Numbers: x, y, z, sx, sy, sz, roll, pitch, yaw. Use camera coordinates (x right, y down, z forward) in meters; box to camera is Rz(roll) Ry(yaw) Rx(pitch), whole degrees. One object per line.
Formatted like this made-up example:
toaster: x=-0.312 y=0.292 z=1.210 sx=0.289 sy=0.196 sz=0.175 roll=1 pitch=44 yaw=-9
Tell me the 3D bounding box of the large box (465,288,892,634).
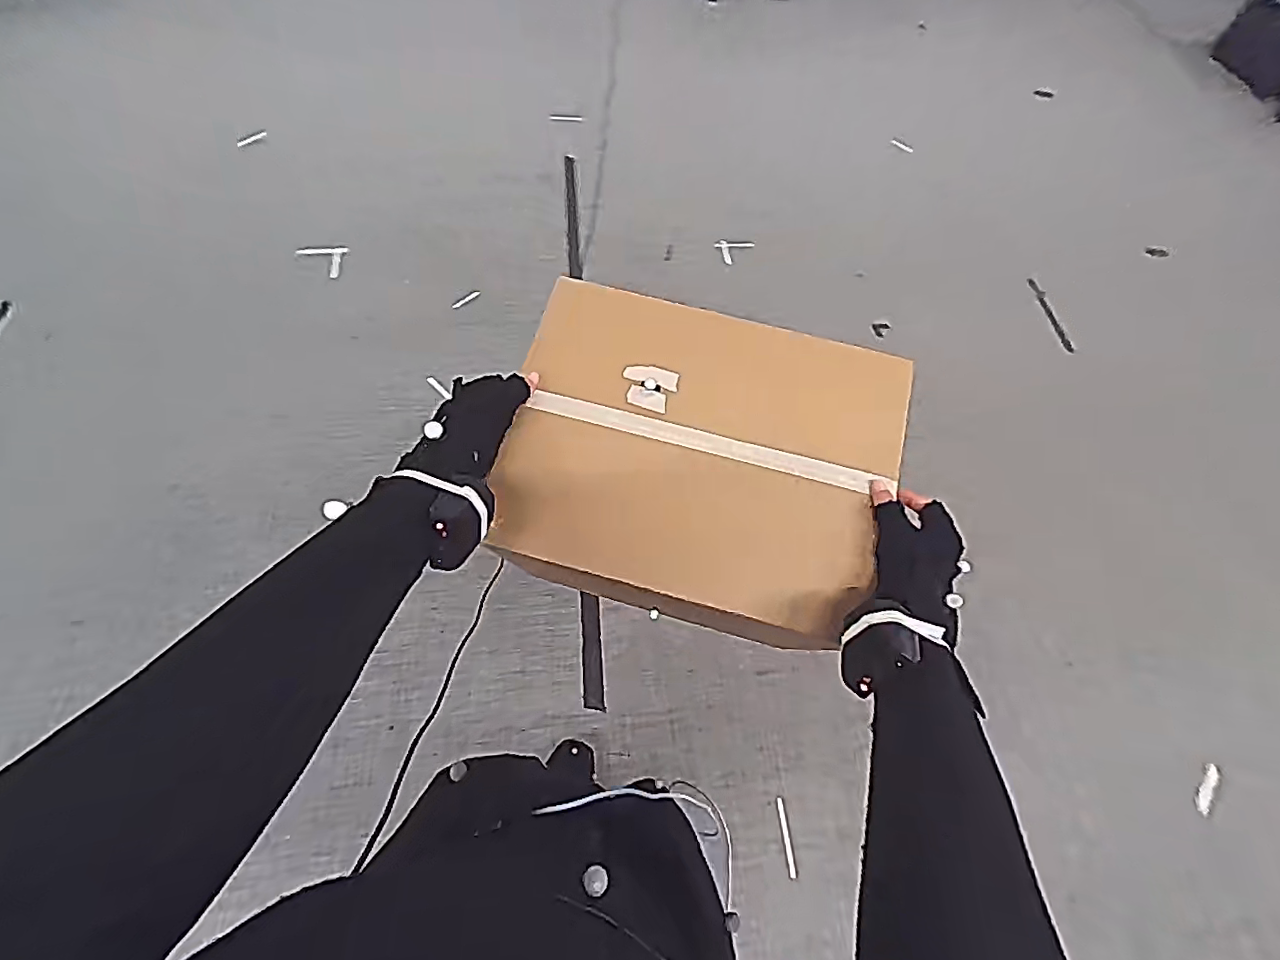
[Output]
large box: x=0.054 y=0.004 z=0.713 sx=0.408 sy=0.320 sz=0.320 roll=14 pitch=73 yaw=5
